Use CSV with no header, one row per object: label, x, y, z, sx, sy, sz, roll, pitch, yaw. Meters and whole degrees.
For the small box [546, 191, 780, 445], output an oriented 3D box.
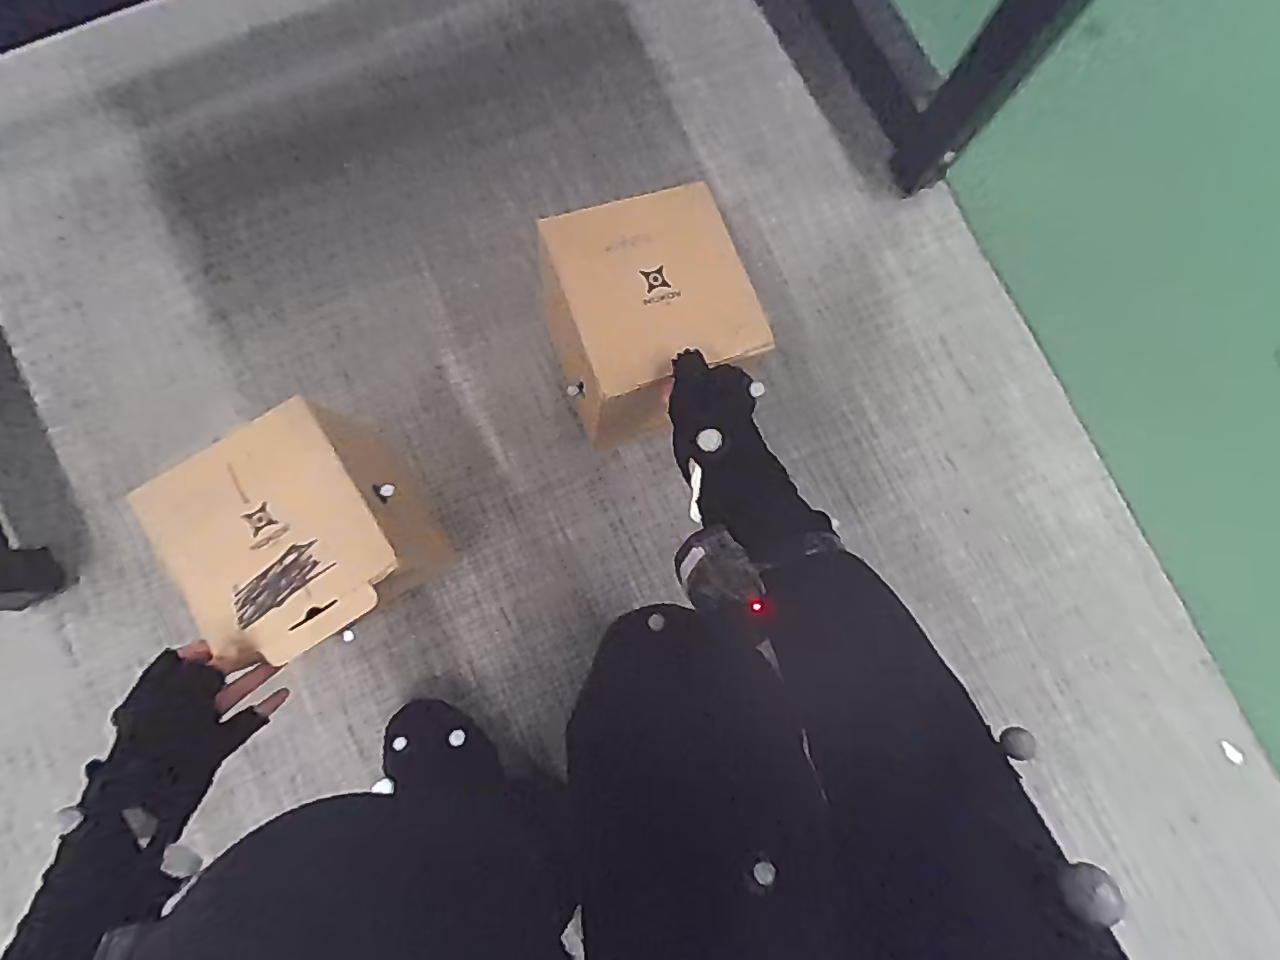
small box,0.013,-0.147,0.552,0.168,0.176,0.179,-19,79,-11
